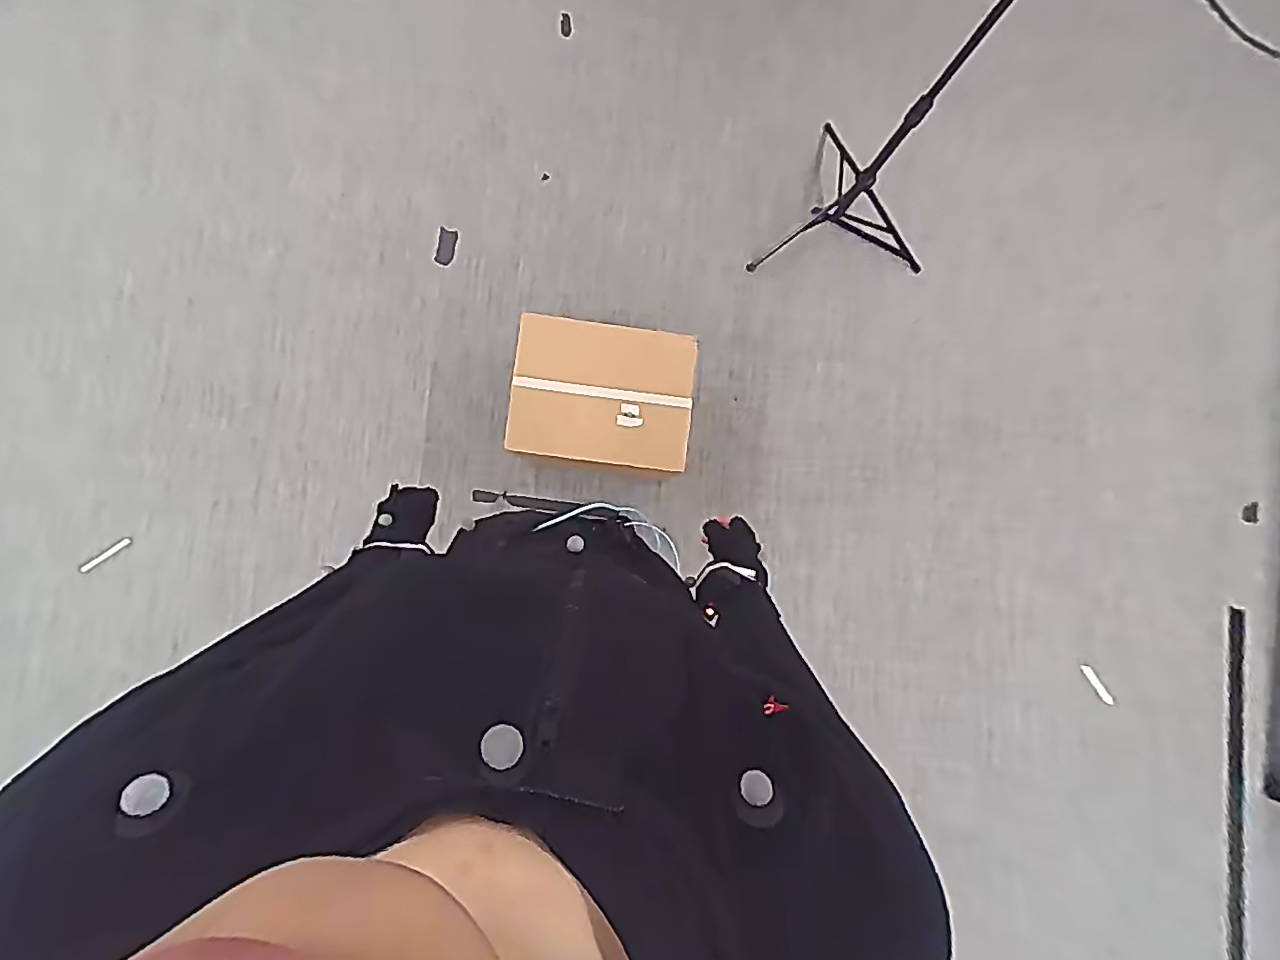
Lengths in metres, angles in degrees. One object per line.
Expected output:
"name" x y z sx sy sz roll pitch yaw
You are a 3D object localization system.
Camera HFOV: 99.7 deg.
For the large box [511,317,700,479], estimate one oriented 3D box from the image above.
"large box" -0.087 -0.186 1.365 0.408 0.320 0.320 8 86 -4
